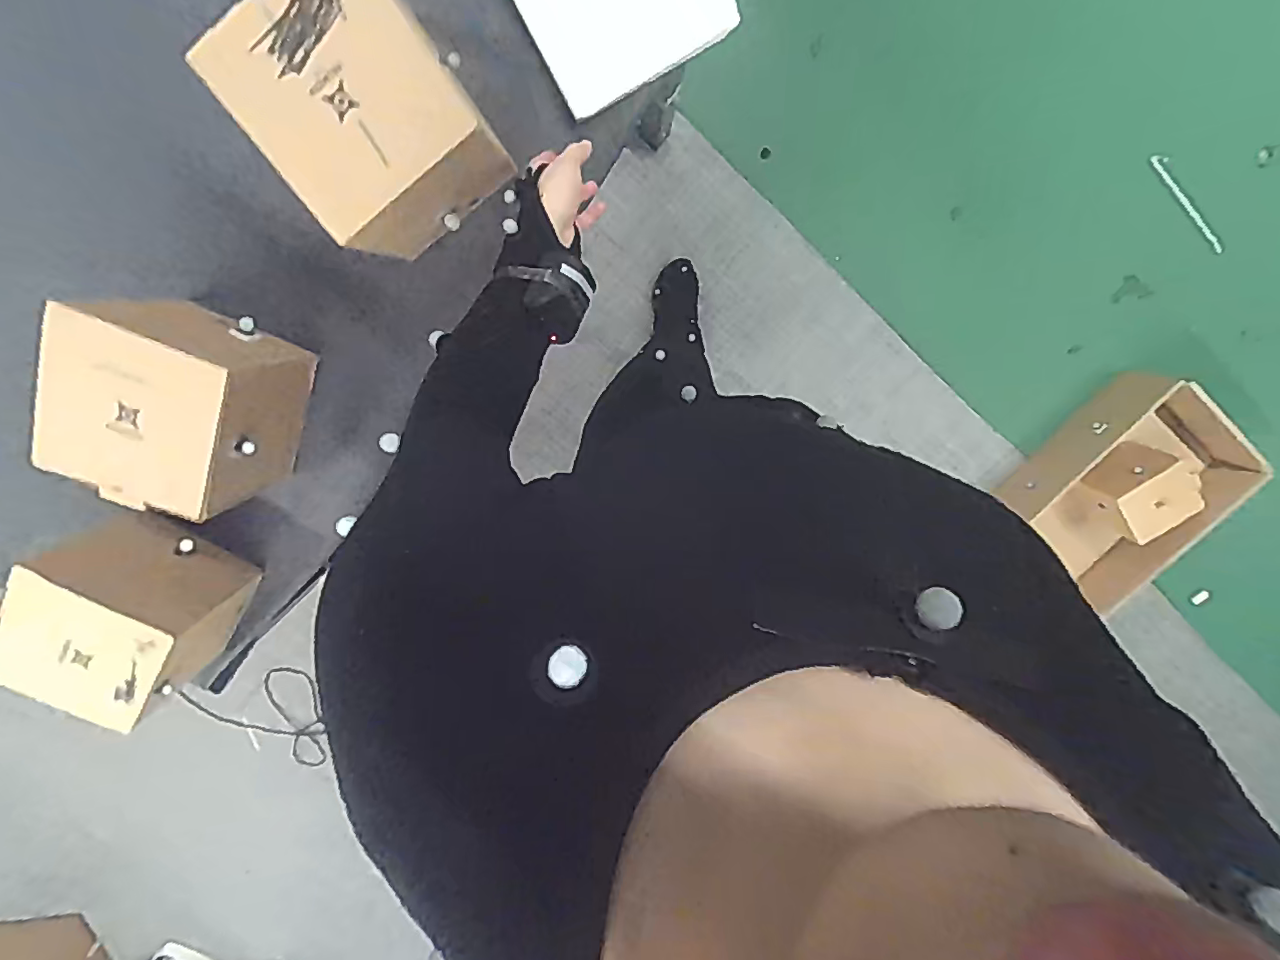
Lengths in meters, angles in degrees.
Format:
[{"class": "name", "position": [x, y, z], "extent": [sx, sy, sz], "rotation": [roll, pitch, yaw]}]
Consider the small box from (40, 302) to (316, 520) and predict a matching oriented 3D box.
[{"class": "small box", "position": [-0.504, -0.085, 0.614], "extent": [0.168, 0.176, 0.179], "rotation": [21, 106, -9]}]

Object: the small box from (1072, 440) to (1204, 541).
[{"class": "small box", "position": [1.288, 0.022, 1.417], "extent": [0.179, 0.176, 0.168], "rotation": [-38, 107, 11]}]

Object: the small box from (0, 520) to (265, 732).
[{"class": "small box", "position": [-0.642, 0.173, 0.695], "extent": [0.179, 0.176, 0.168], "rotation": [33, 105, -11]}]

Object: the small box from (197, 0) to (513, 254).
[{"class": "small box", "position": [-0.251, -0.345, 0.527], "extent": [0.168, 0.176, 0.179], "rotation": [-34, 106, 11]}]
